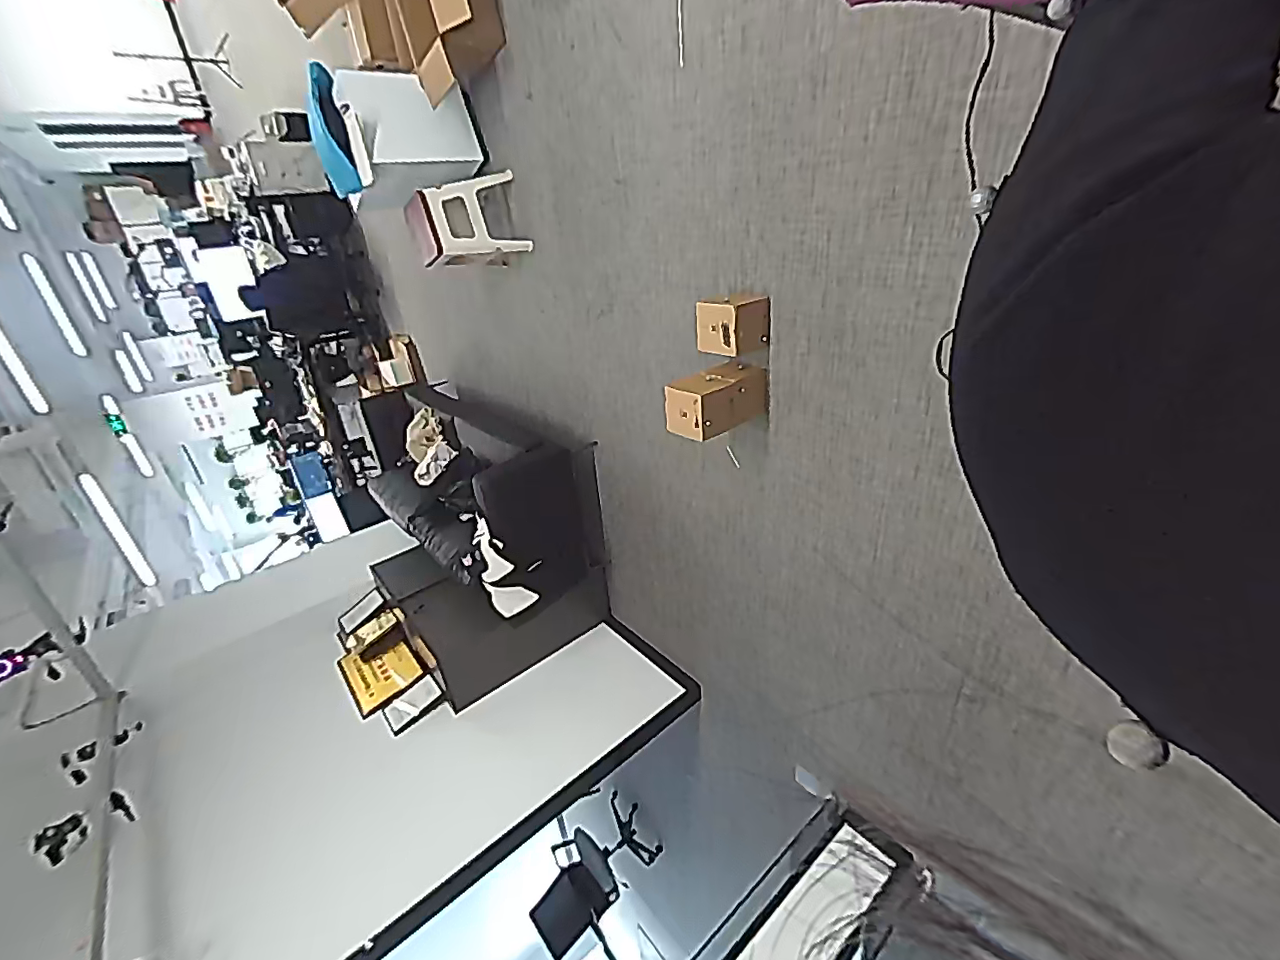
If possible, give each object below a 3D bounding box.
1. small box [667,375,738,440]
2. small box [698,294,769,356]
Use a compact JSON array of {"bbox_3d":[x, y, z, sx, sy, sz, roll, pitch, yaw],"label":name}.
[{"bbox_3d":[0.212,-0.255,1.848,0.179,0.176,0.168,27,131,45],"label":"small box"},{"bbox_3d":[0.319,-0.528,1.823,0.179,0.176,0.168,25,129,46],"label":"small box"}]
